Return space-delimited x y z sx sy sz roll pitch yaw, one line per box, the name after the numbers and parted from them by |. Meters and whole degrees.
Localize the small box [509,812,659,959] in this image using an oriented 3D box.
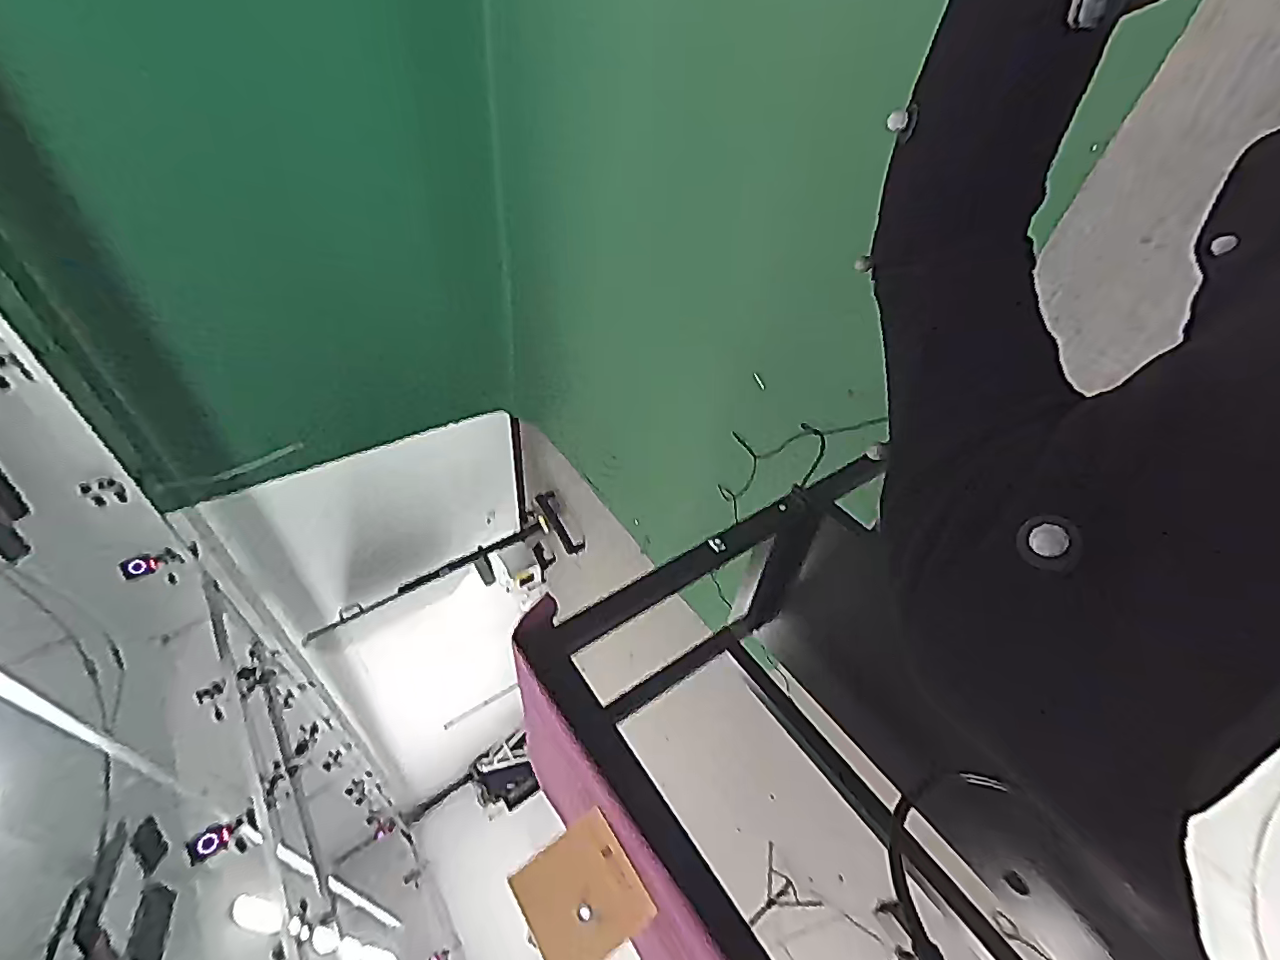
-0.088 0.666 0.856 0.168 0.176 0.179 47 148 30 | small box
